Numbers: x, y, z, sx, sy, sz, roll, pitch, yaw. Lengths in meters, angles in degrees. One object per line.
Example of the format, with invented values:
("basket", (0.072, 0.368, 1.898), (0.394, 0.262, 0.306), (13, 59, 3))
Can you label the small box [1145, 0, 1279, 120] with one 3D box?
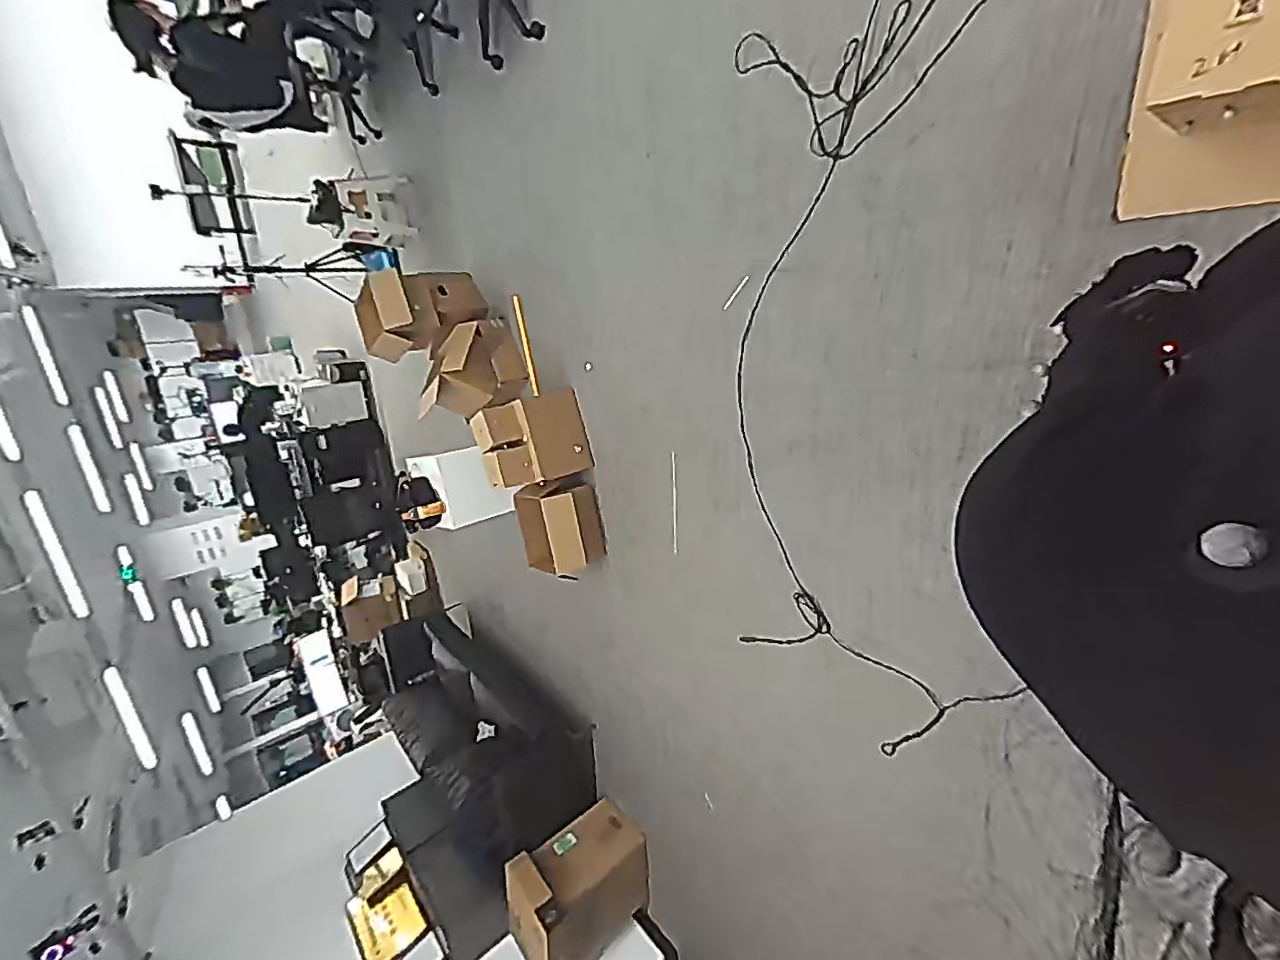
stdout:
("small box", (0.851, -0.631, 0.753), (0.168, 0.176, 0.179), (21, 121, 47))
